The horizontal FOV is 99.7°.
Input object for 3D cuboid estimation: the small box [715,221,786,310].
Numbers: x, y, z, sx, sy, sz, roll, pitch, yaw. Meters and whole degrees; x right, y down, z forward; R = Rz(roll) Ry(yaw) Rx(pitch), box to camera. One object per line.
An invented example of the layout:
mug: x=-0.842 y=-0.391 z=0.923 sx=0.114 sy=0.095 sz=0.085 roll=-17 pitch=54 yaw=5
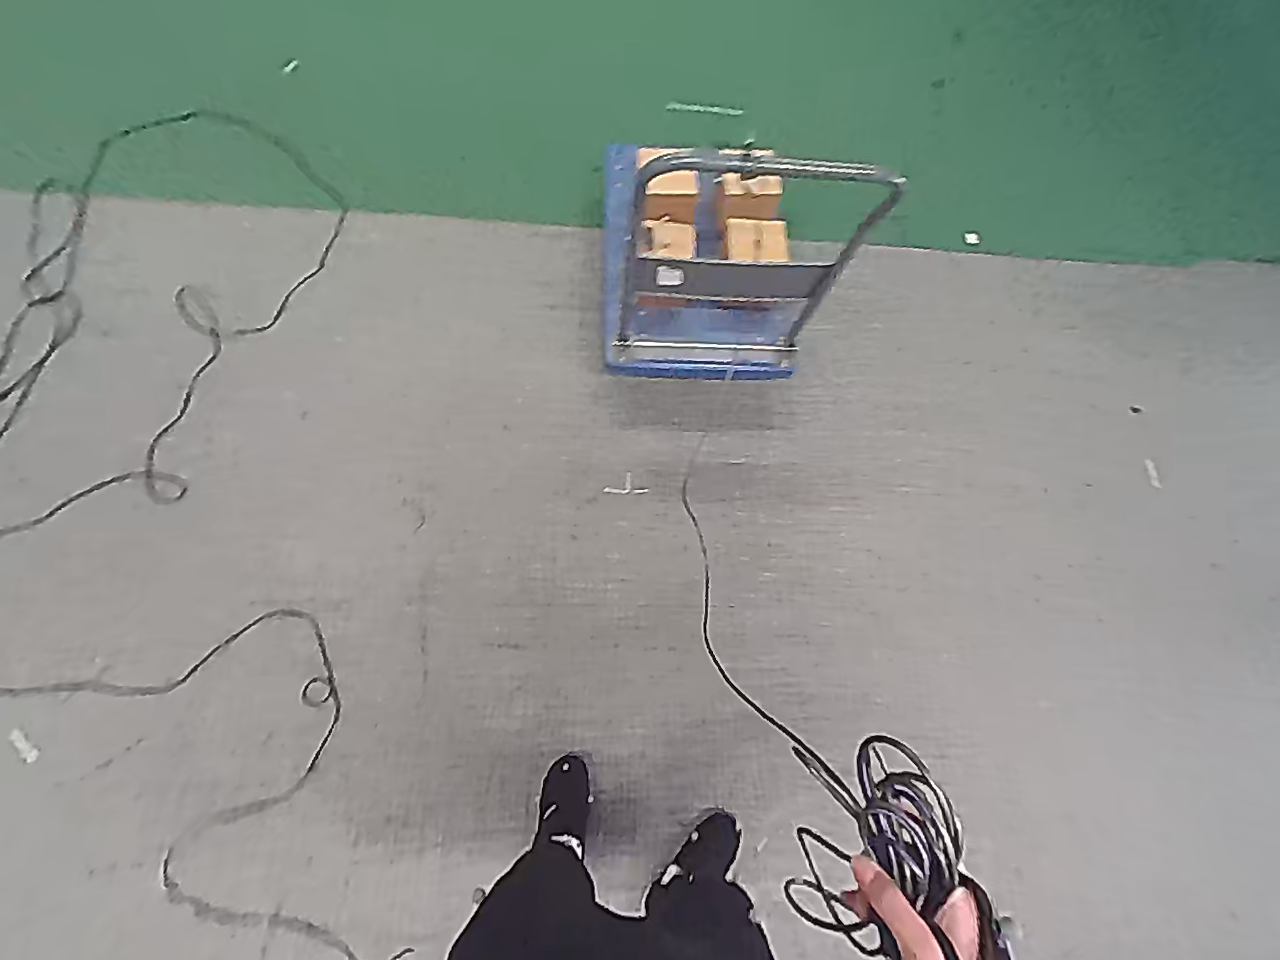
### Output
small box: x=0.321 y=-0.635 z=1.608 sx=0.168 sy=0.176 sz=0.179 roll=1 pitch=71 yaw=-4

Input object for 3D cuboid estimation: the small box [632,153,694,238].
small box: x=0.066 y=-0.874 z=1.673 sx=0.168 sy=0.176 sz=0.179 roll=-3 pitch=70 yaw=-7

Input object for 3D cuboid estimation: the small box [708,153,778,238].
small box: x=0.316 y=-0.890 z=1.699 sx=0.168 sy=0.176 sz=0.179 roll=-3 pitch=71 yaw=-5
